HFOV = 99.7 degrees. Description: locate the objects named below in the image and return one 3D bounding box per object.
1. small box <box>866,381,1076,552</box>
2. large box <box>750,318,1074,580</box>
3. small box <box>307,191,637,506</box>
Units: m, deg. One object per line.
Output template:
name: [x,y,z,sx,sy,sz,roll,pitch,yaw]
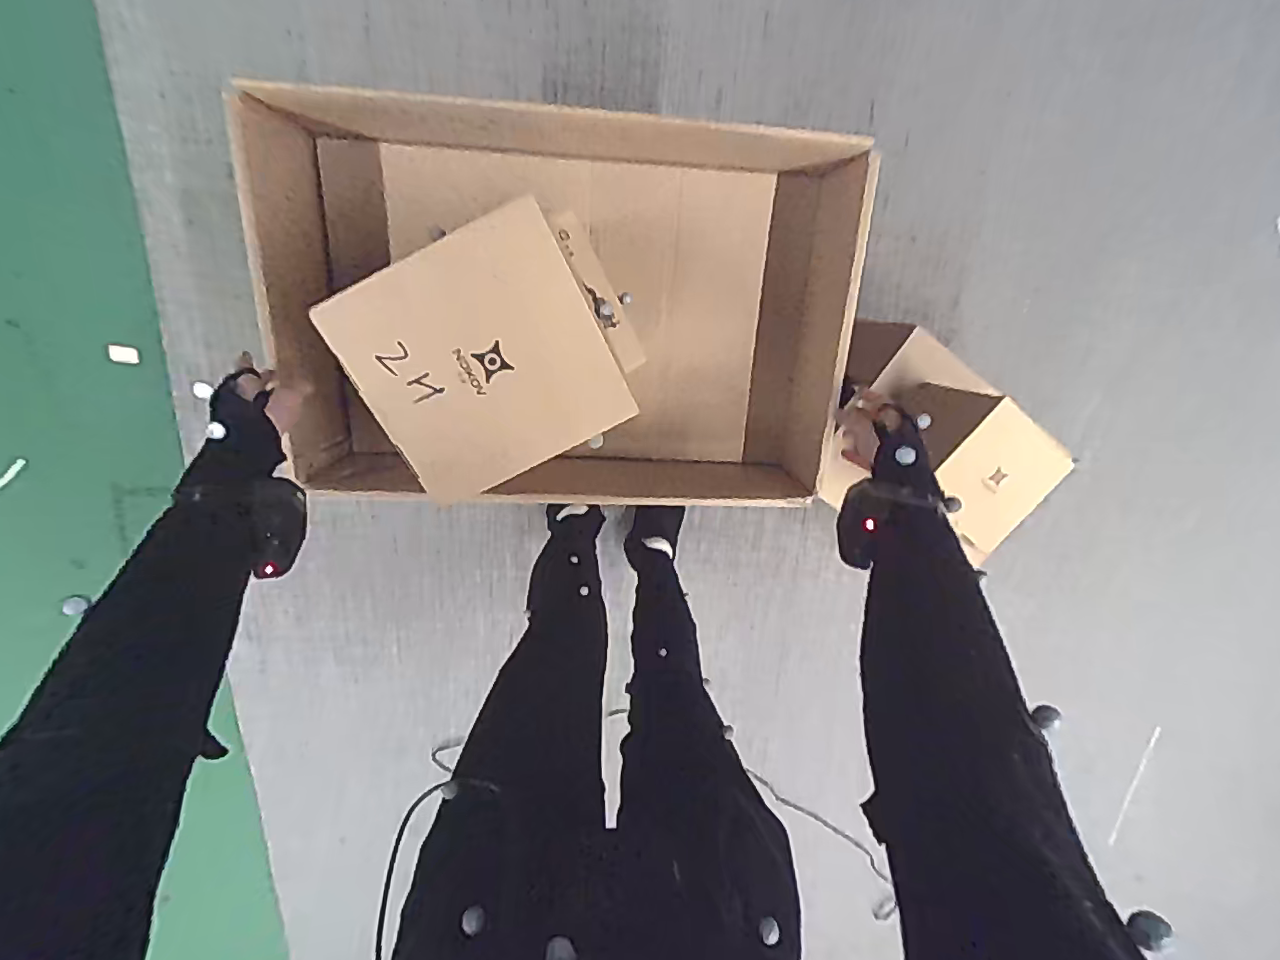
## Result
small box: [0.485,-0.030,0.820,0.168,0.176,0.179,35,101,-15]
large box: [0.495,-0.077,1.063,0.408,0.320,0.320,31,104,-15]
small box: [-0.119,-0.110,0.454,0.179,0.176,0.168,-26,108,5]
